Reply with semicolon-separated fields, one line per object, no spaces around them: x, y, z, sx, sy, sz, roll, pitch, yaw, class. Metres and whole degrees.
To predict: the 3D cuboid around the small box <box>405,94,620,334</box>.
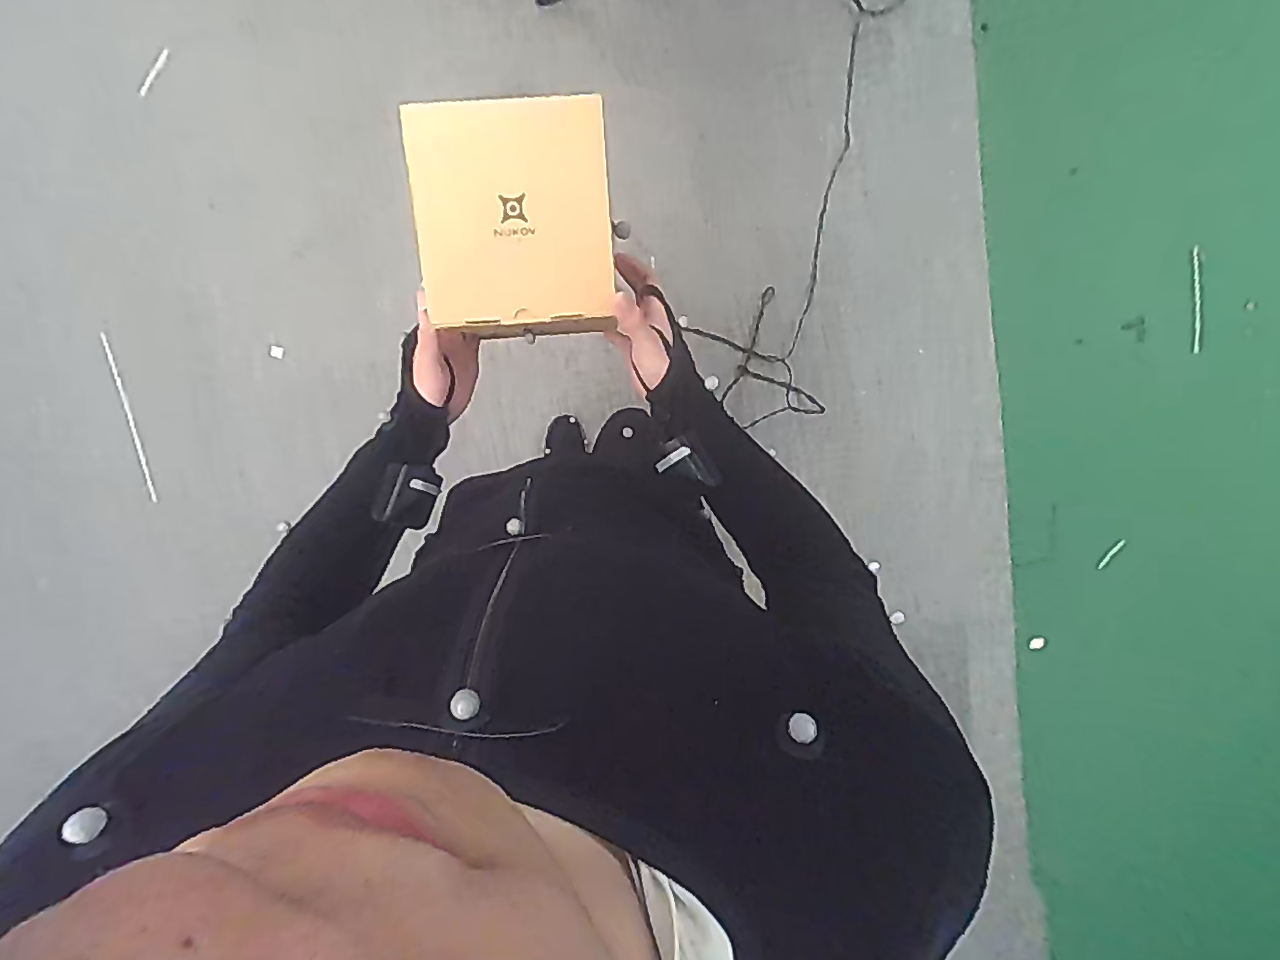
-0.109;-0.242;0.533;0.168;0.176;0.179;-4;103;-2;small box
